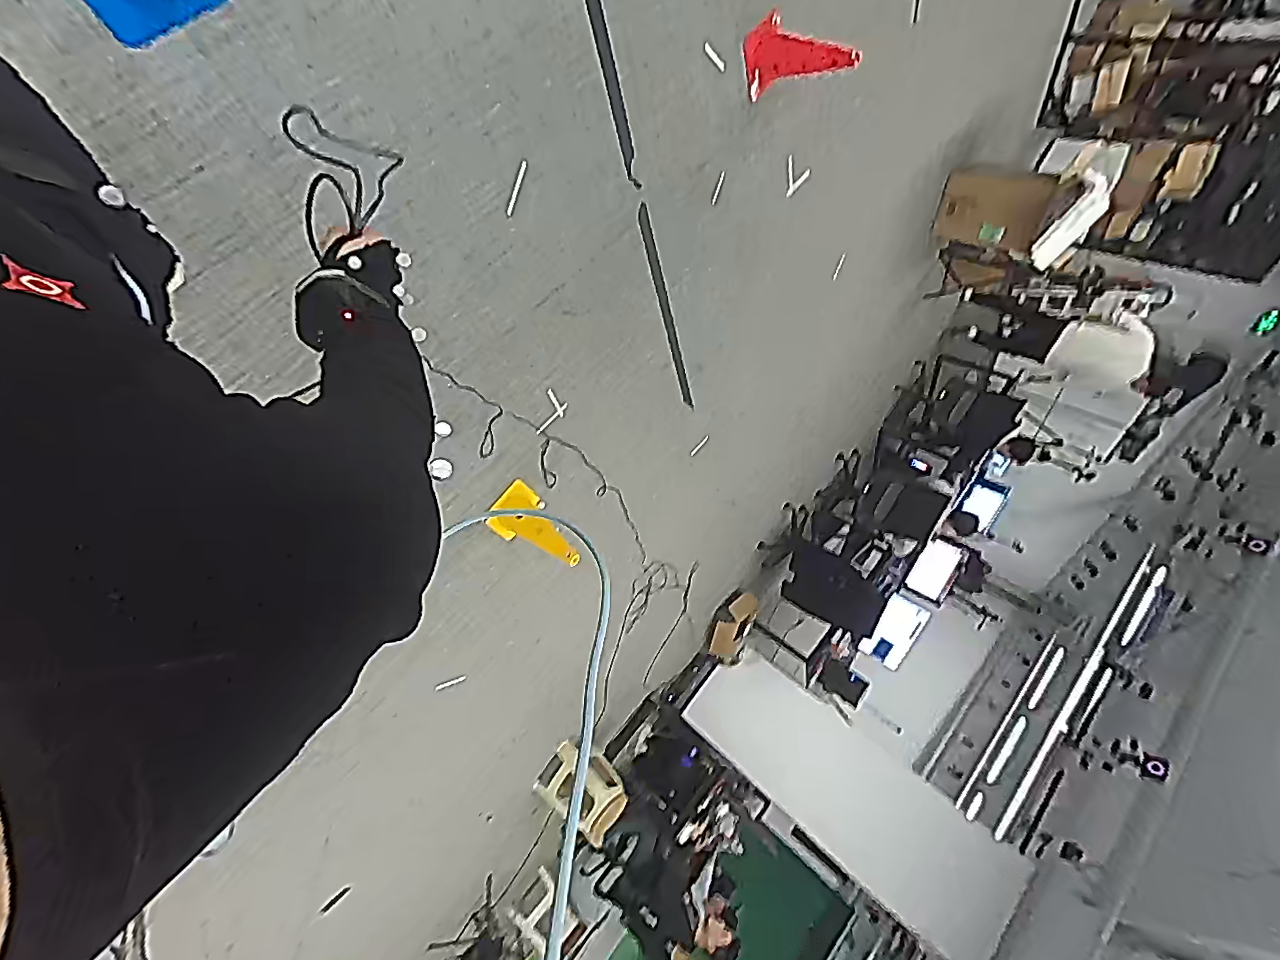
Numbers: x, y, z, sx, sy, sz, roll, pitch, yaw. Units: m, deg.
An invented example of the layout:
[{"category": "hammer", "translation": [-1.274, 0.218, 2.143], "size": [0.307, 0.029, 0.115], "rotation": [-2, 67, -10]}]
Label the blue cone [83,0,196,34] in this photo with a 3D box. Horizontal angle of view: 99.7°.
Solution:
[{"category": "blue cone", "translation": [-0.669, -0.732, 0.714], "size": [0.192, 0.380, 0.193], "rotation": [-45, 146, -17]}]

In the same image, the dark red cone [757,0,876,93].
[{"category": "dark red cone", "translation": [0.579, -1.401, 1.760], "size": [0.201, 0.394, 0.202], "rotation": [-50, 147, -10]}]
